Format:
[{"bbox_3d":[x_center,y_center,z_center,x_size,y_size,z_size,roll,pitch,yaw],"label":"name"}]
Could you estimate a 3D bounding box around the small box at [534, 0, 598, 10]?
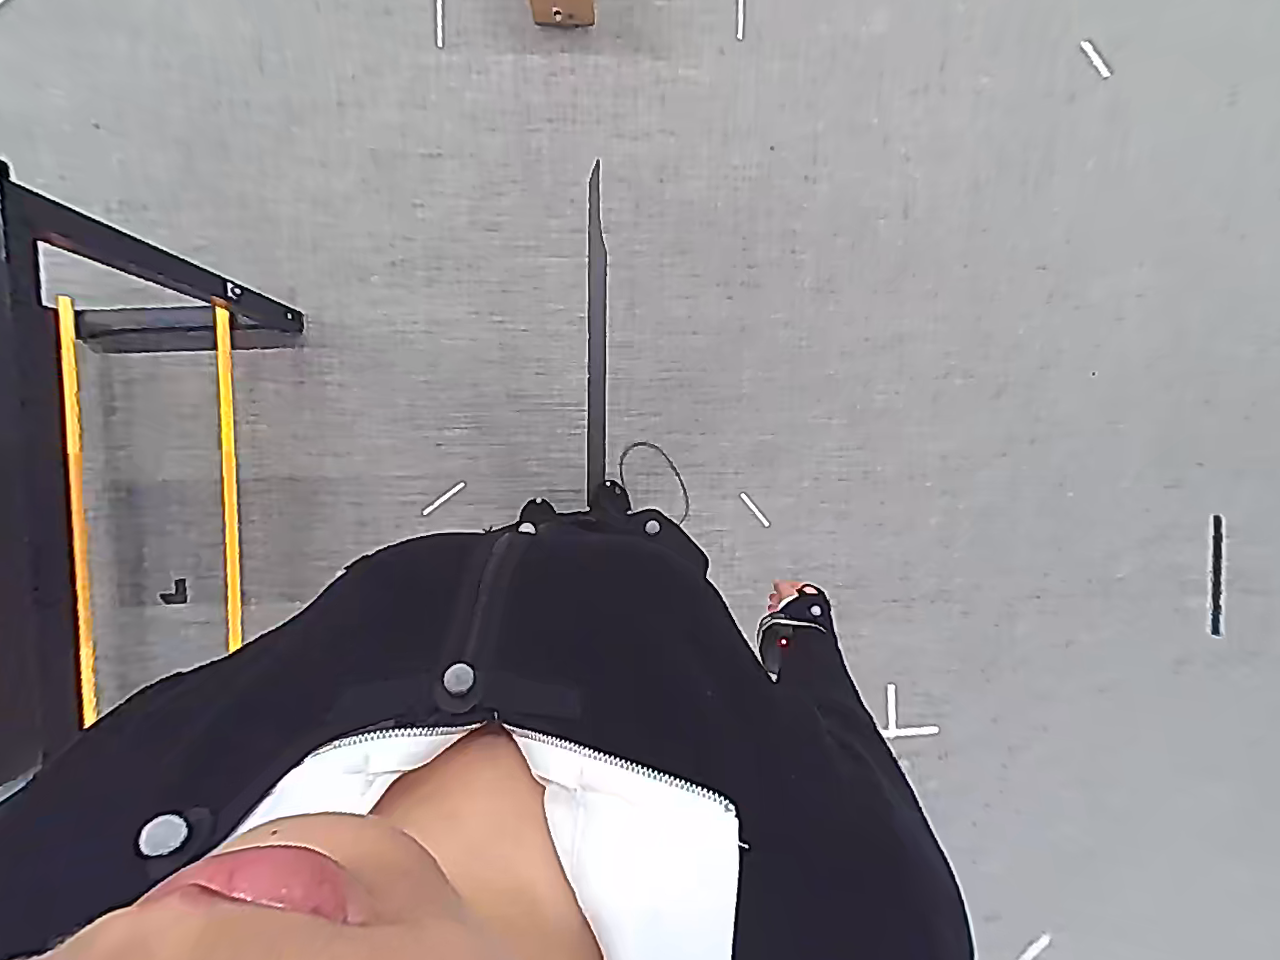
[{"bbox_3d":[-0.184,-1.261,1.266,0.168,0.176,0.179,-2,94,-3],"label":"small box"}]
